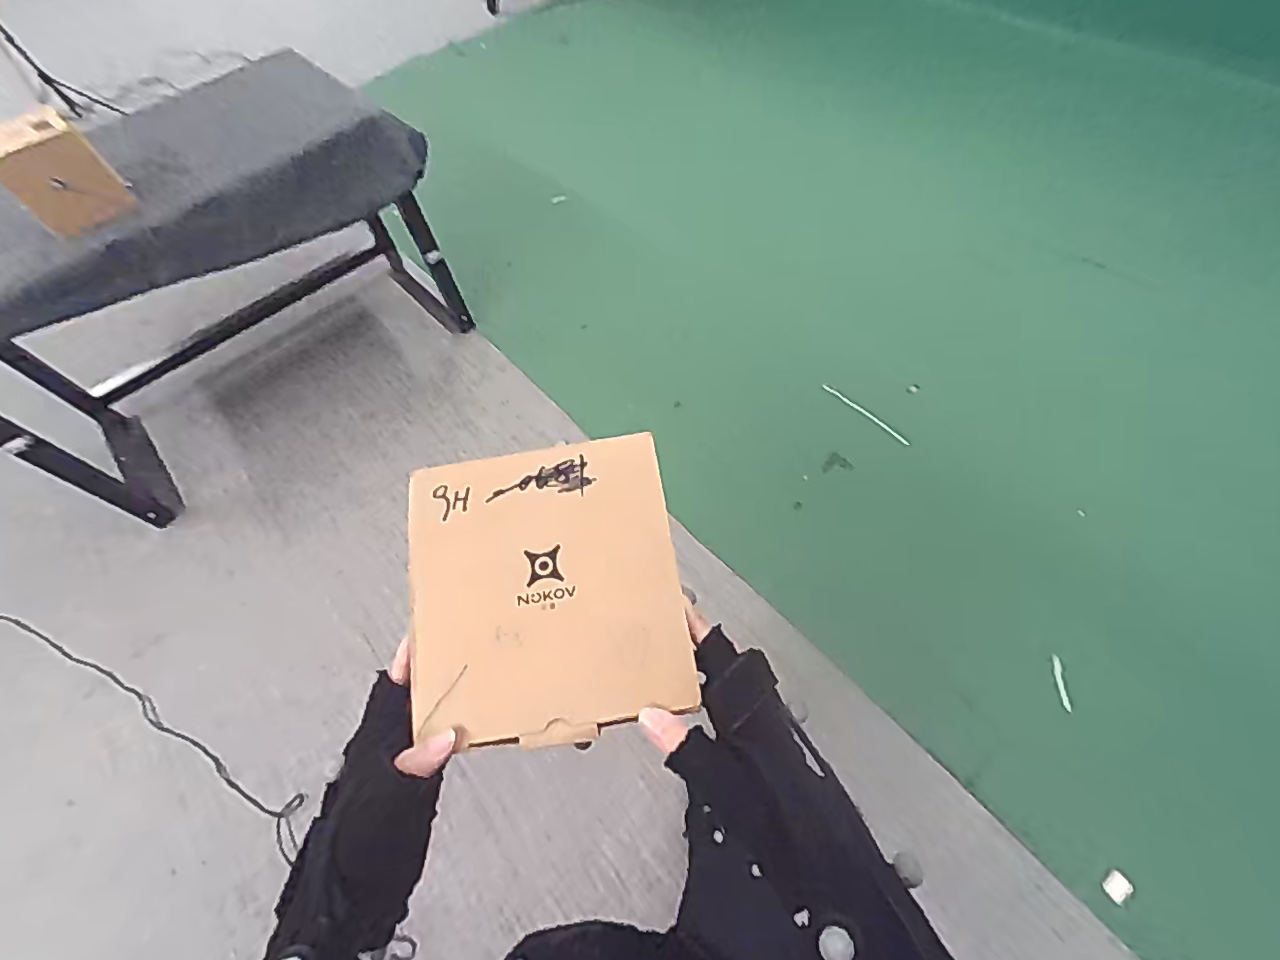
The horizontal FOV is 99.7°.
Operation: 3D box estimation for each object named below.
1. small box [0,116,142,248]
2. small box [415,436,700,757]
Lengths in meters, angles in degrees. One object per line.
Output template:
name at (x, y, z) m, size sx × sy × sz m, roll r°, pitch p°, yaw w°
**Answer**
small box at (-1.252, -0.650, 1.185) m, size 0.179 × 0.176 × 0.168 m, roll -40°, pitch 63°, yaw -16°
small box at (-0.053, 0.089, 0.409) m, size 0.168 × 0.176 × 0.179 m, roll -10°, pitch 70°, yaw -1°
